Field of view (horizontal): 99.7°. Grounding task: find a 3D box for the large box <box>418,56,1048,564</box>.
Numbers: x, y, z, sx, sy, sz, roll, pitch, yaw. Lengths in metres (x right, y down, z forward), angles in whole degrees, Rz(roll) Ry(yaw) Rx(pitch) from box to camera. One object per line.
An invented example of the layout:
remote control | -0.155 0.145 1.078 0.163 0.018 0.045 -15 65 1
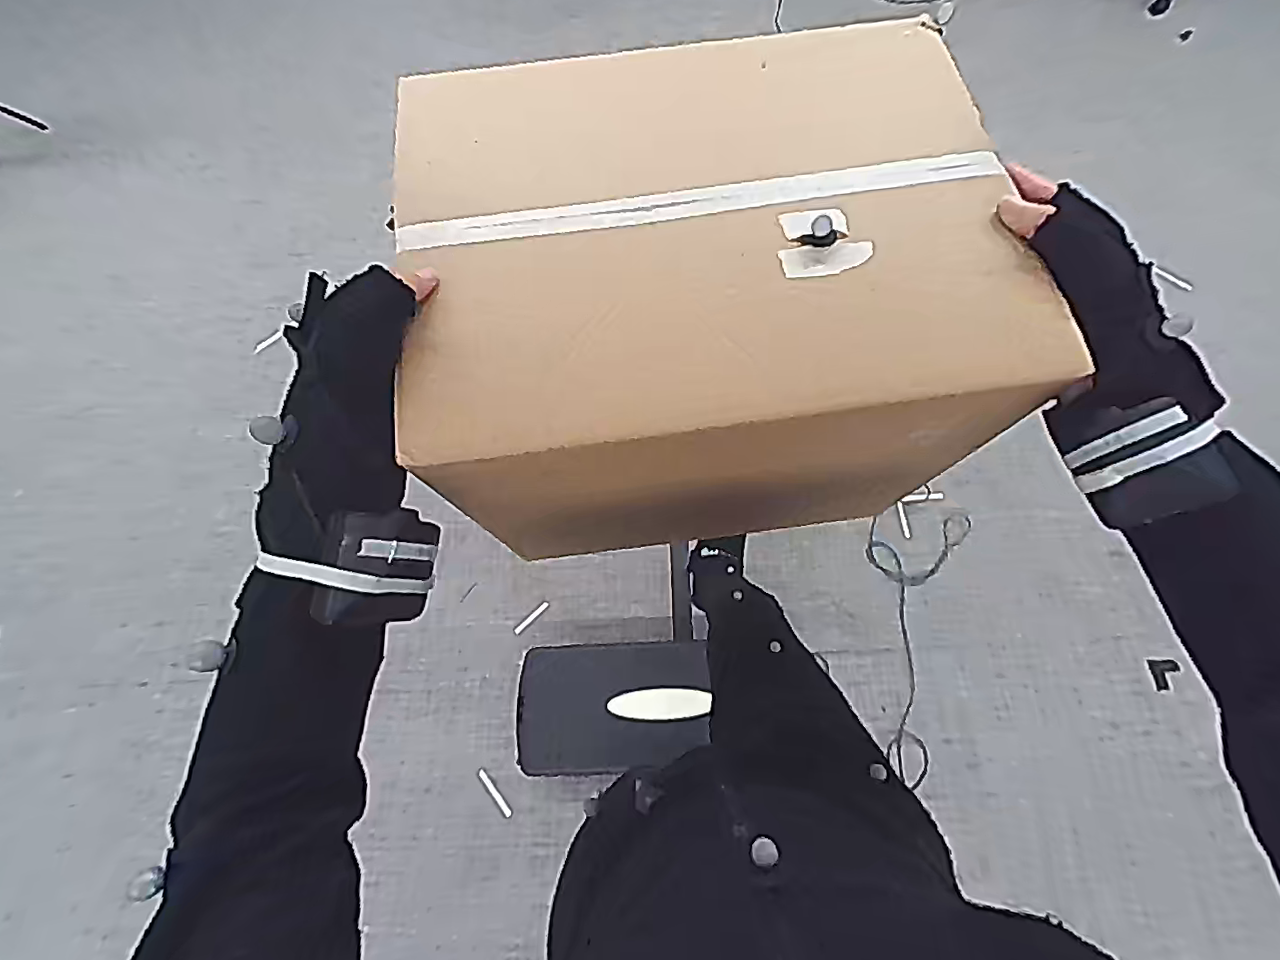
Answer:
large box | 0.044 -0.125 0.524 0.408 0.320 0.320 -8 71 -2
